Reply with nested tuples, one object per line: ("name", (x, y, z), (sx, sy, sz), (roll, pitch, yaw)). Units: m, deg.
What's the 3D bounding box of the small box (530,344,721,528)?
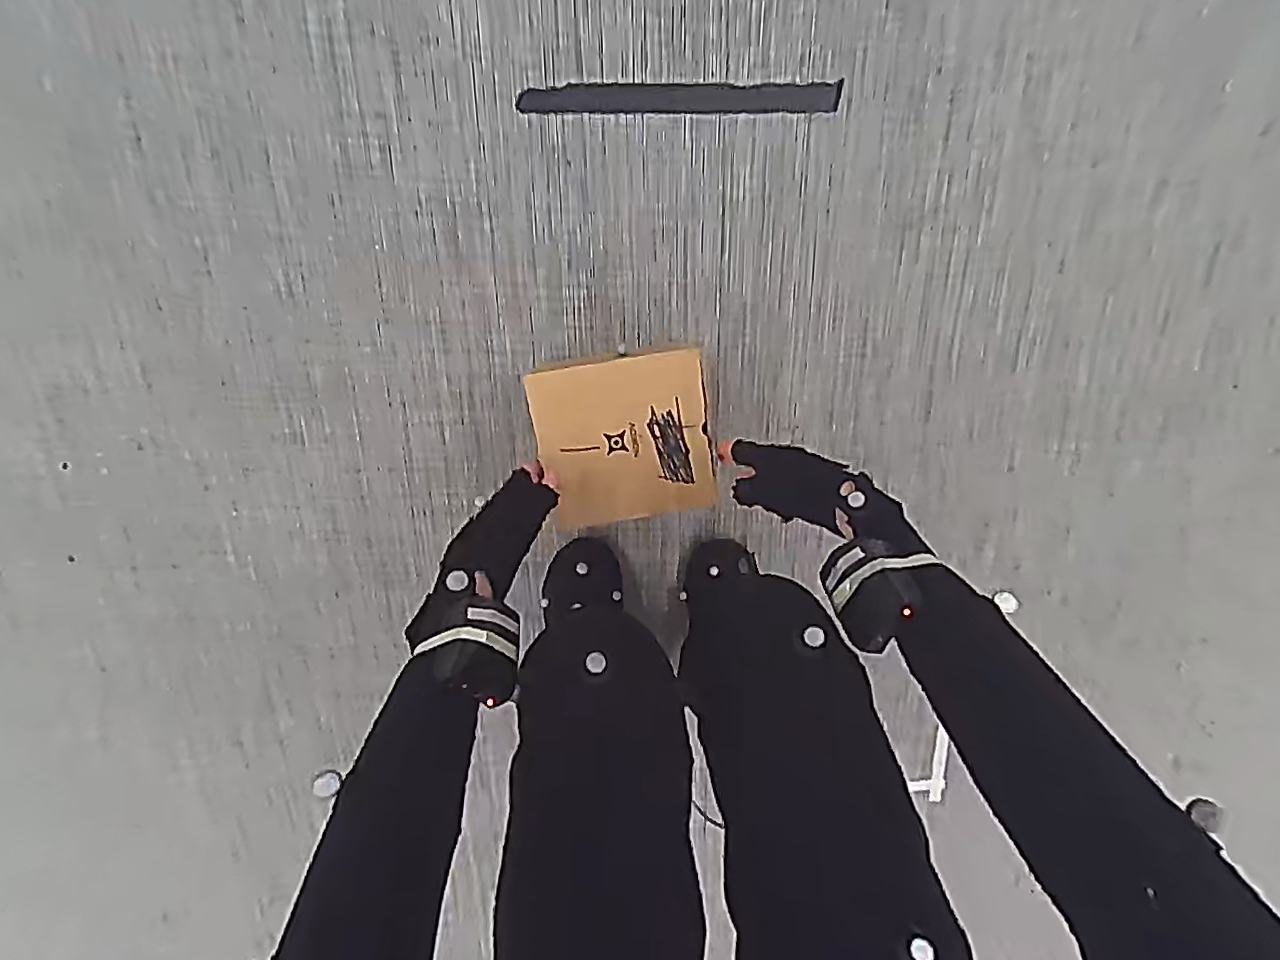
("small box", (-0.015, -0.061, 0.619), (0.179, 0.176, 0.168), (-9, 106, 1))
